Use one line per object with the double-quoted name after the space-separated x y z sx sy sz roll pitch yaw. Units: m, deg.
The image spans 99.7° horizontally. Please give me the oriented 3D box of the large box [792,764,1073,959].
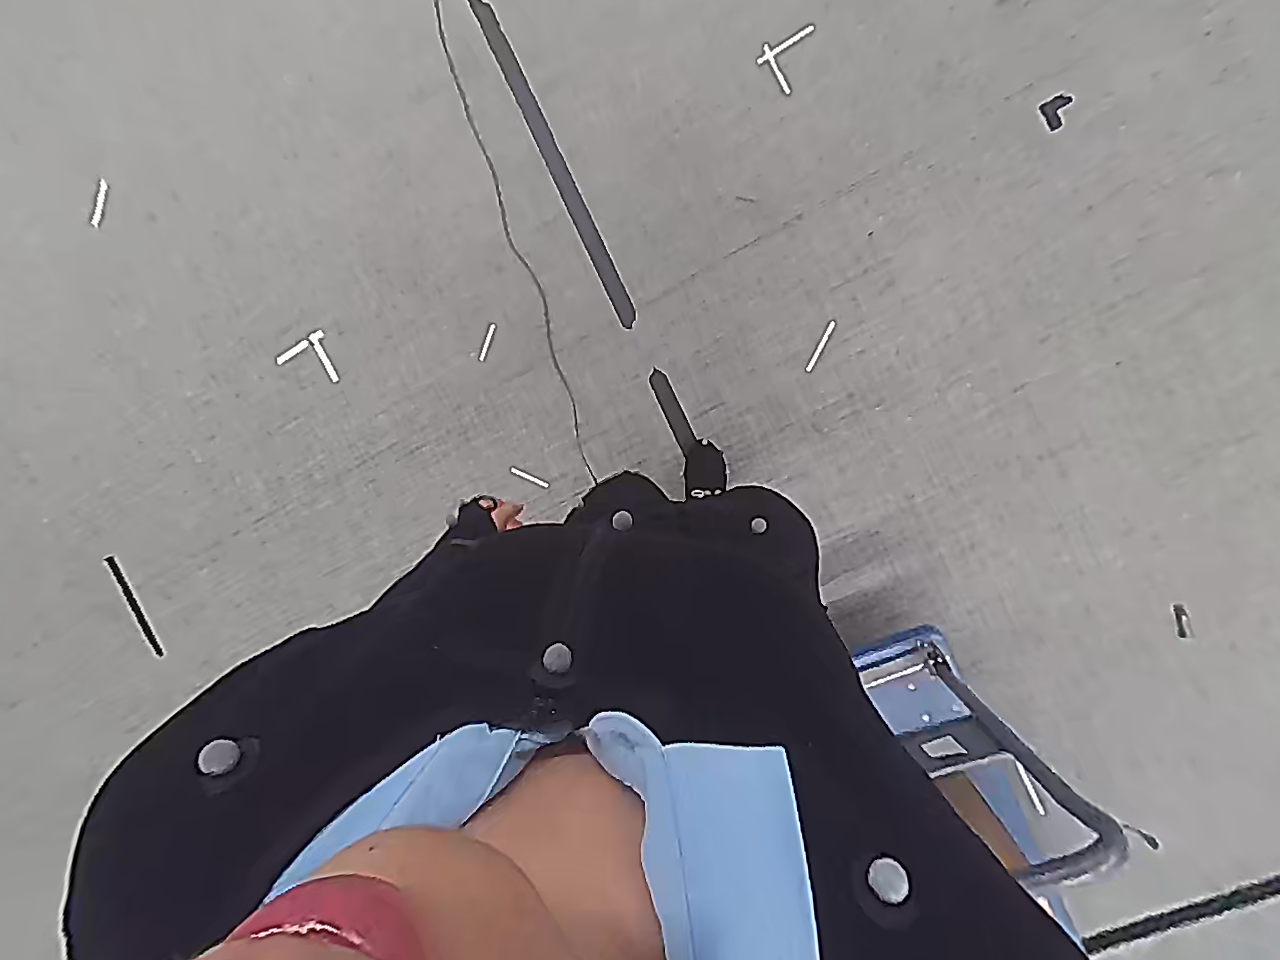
0.581 0.869 1.124 0.408 0.320 0.320 -22 92 8 "large box"
